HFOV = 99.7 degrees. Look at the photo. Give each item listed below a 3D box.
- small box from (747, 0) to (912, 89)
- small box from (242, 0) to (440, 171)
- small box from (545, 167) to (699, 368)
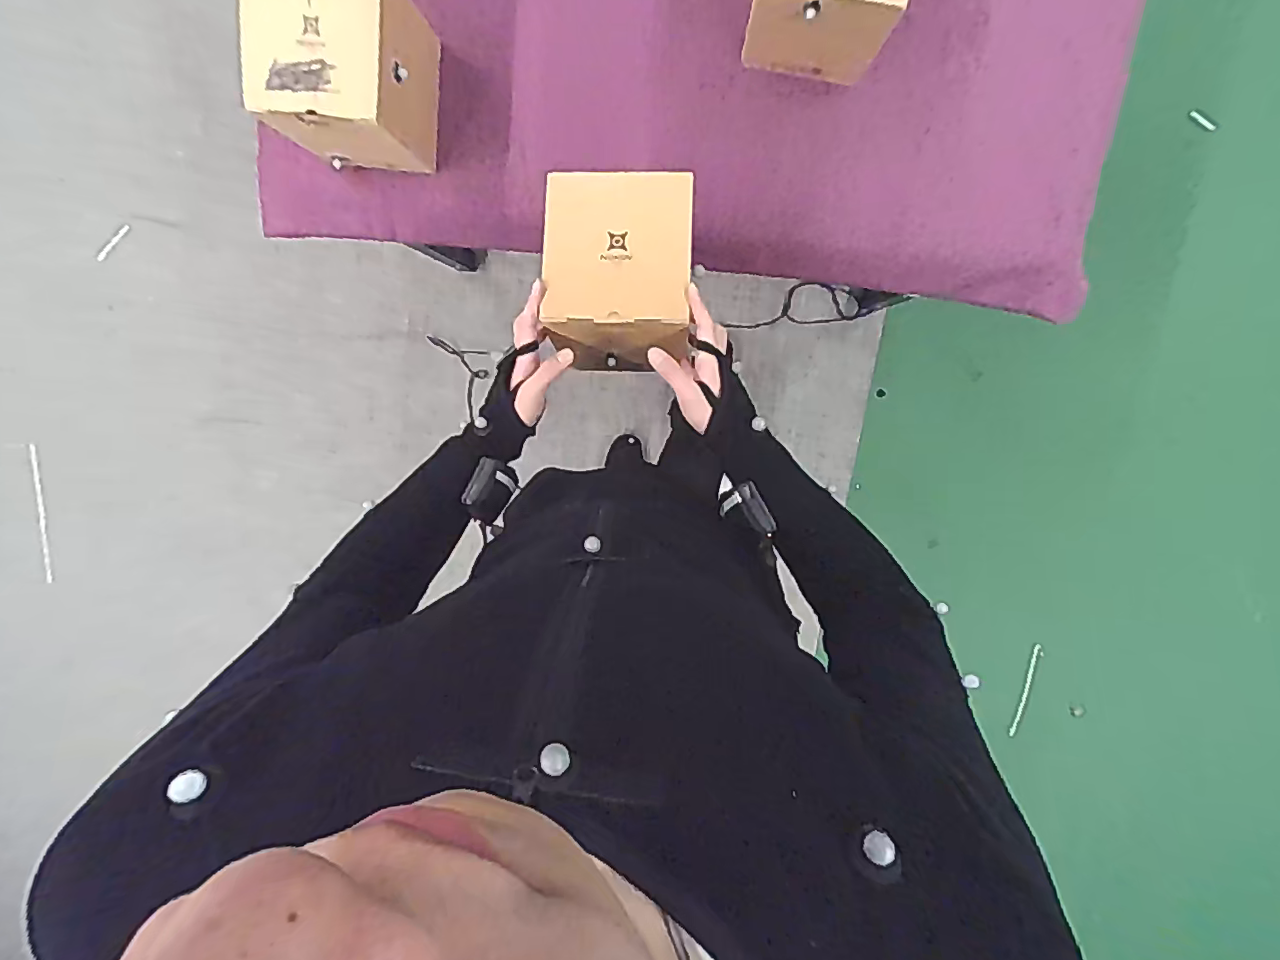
[{"bbox_3d":[0.234,-0.625,0.655,0.168,0.176,0.179,11,101,1],"label":"small box"},{"bbox_3d":[-0.373,-0.526,0.700,0.168,0.176,0.179,7,100,1],"label":"small box"},{"bbox_3d":[-0.017,-0.251,0.670,0.168,0.176,0.179,1,84,2],"label":"small box"}]
